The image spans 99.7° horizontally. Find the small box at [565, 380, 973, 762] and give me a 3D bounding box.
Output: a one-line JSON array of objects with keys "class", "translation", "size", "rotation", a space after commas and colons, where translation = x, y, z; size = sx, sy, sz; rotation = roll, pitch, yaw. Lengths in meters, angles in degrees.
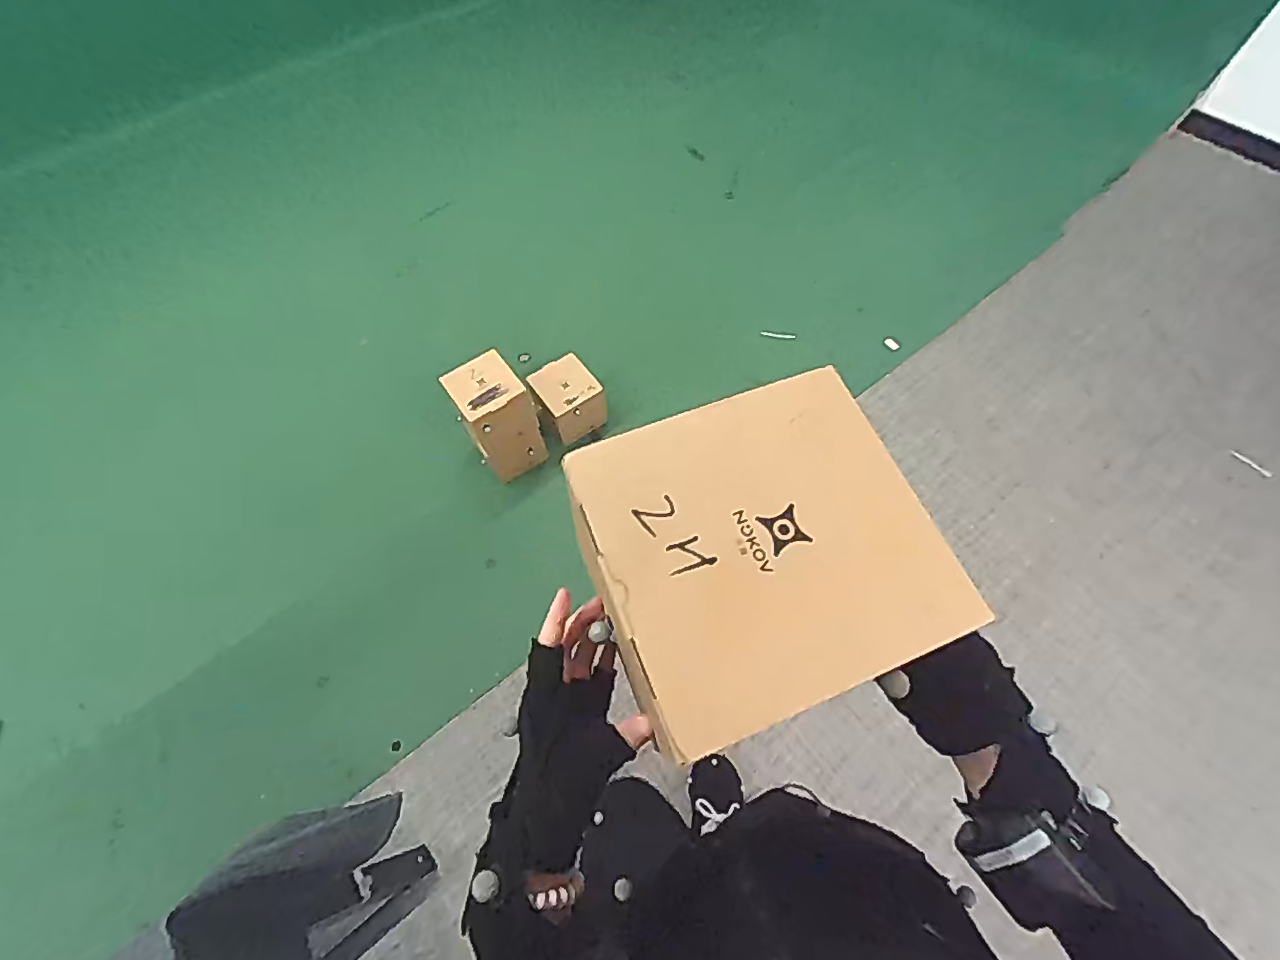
[{"class": "small box", "translation": [0.062, 0.066, 0.365], "size": [0.179, 0.176, 0.168], "rotation": [-20, 67, -10]}]

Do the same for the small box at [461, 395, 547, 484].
[{"class": "small box", "translation": [-0.393, -0.109, 1.597], "size": [0.168, 0.176, 0.179], "rotation": [-32, 66, -14]}]
